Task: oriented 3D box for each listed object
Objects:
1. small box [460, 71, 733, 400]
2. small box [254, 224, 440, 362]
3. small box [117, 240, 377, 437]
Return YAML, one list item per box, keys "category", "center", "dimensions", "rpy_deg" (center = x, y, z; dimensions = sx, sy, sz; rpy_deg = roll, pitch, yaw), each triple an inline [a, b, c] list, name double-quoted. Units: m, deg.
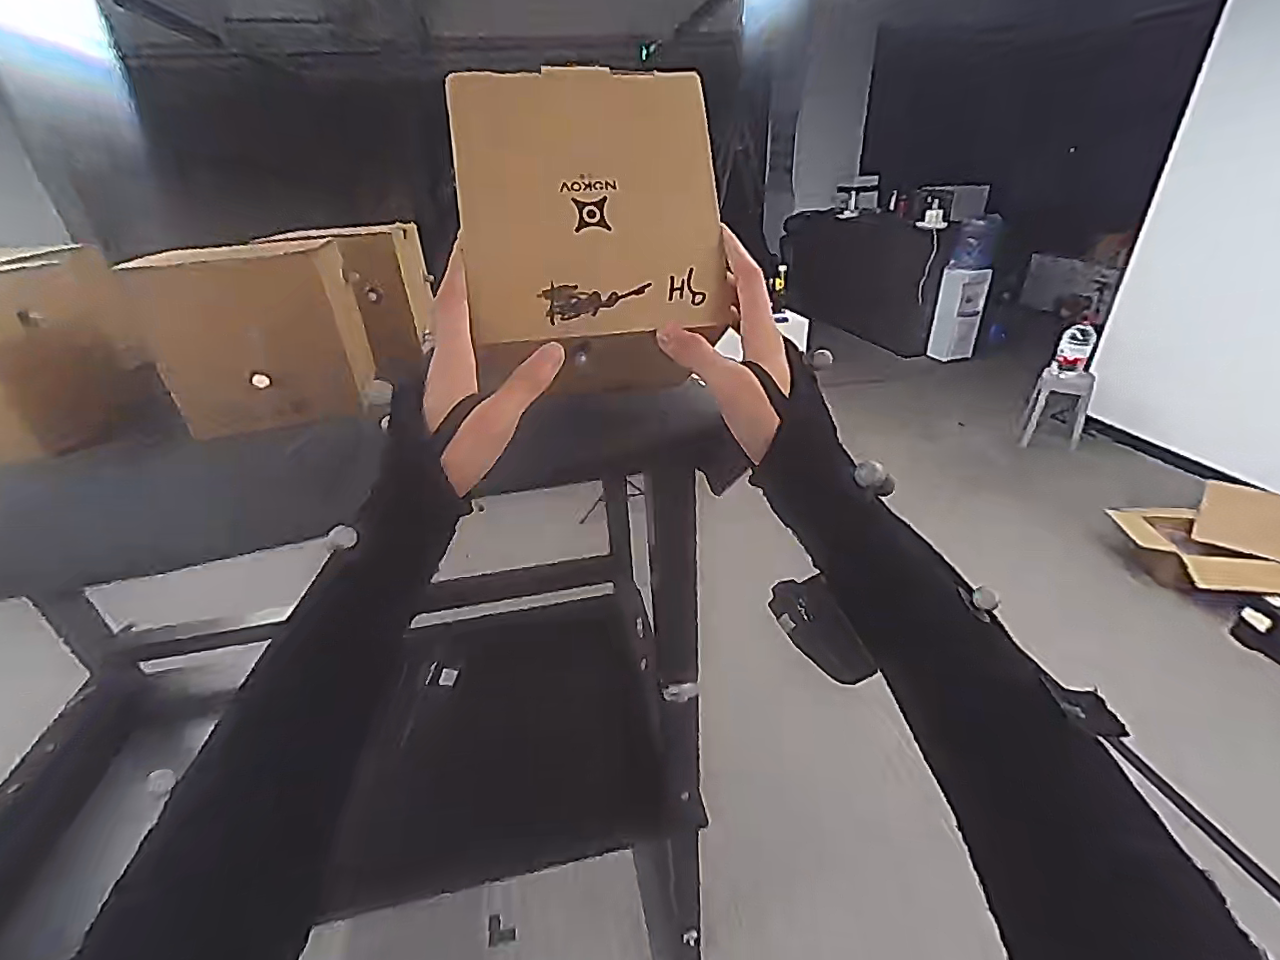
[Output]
- category: "small box"
  center: [-0.038, -0.172, 0.425]
  dimensions: [0.168, 0.179, 0.176]
  rpy_deg: [-5, -4, -8]
- category: "small box"
  center: [-0.406, -0.272, 0.791]
  dimensions: [0.179, 0.176, 0.168]
  rpy_deg: [-7, 29, -7]
- category: "small box"
  center: [-0.405, -0.163, 0.599]
  dimensions: [0.168, 0.176, 0.179]
  rpy_deg: [-13, 31, -15]
